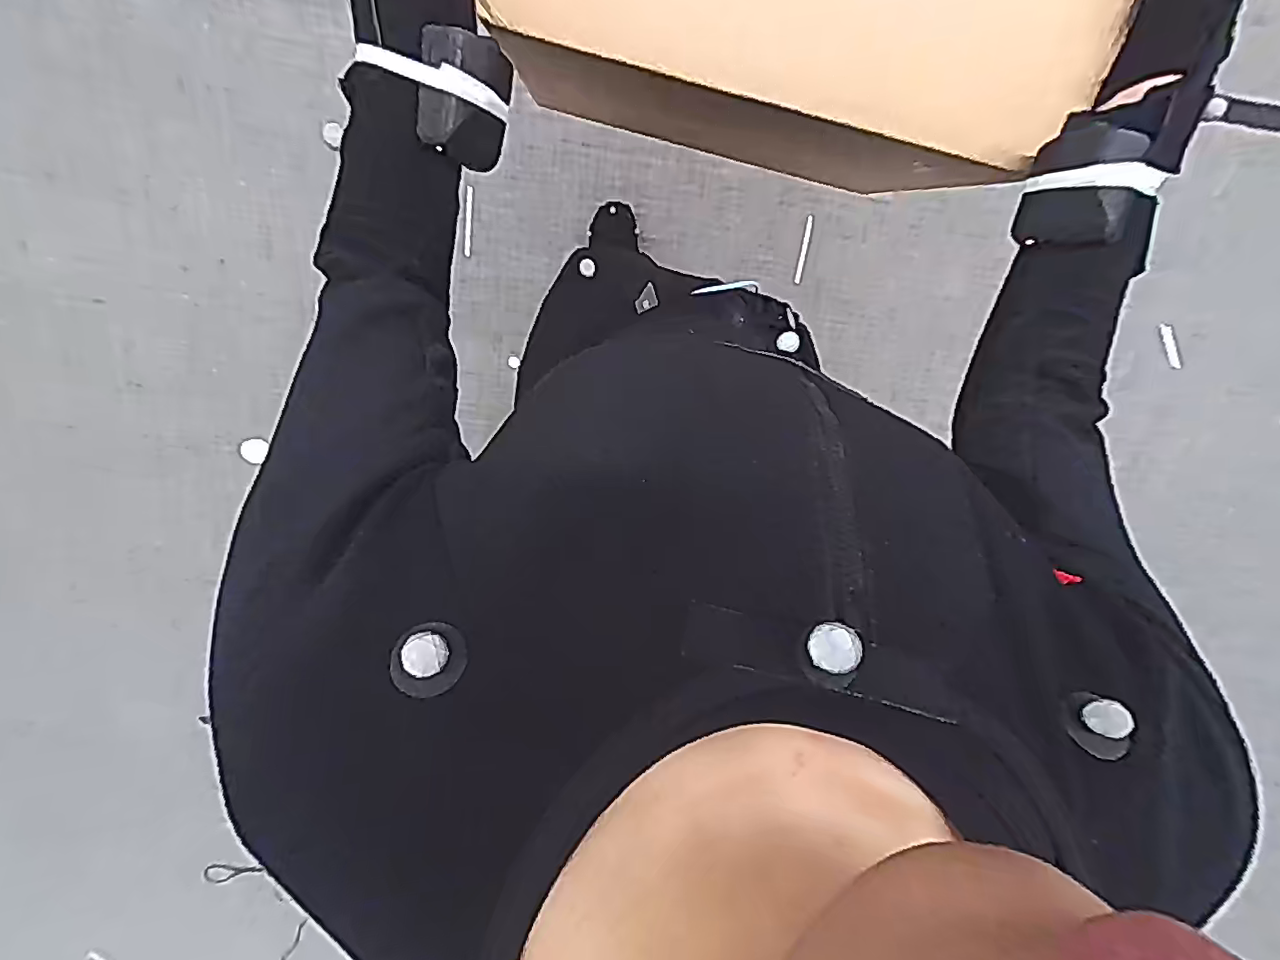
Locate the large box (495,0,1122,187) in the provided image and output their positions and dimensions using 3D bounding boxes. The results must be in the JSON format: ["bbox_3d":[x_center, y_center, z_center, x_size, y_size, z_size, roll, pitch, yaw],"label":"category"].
[{"bbox_3d":[0.119,-0.453,0.434,0.408,0.320,0.320,9,117,-9],"label":"large box"}]
